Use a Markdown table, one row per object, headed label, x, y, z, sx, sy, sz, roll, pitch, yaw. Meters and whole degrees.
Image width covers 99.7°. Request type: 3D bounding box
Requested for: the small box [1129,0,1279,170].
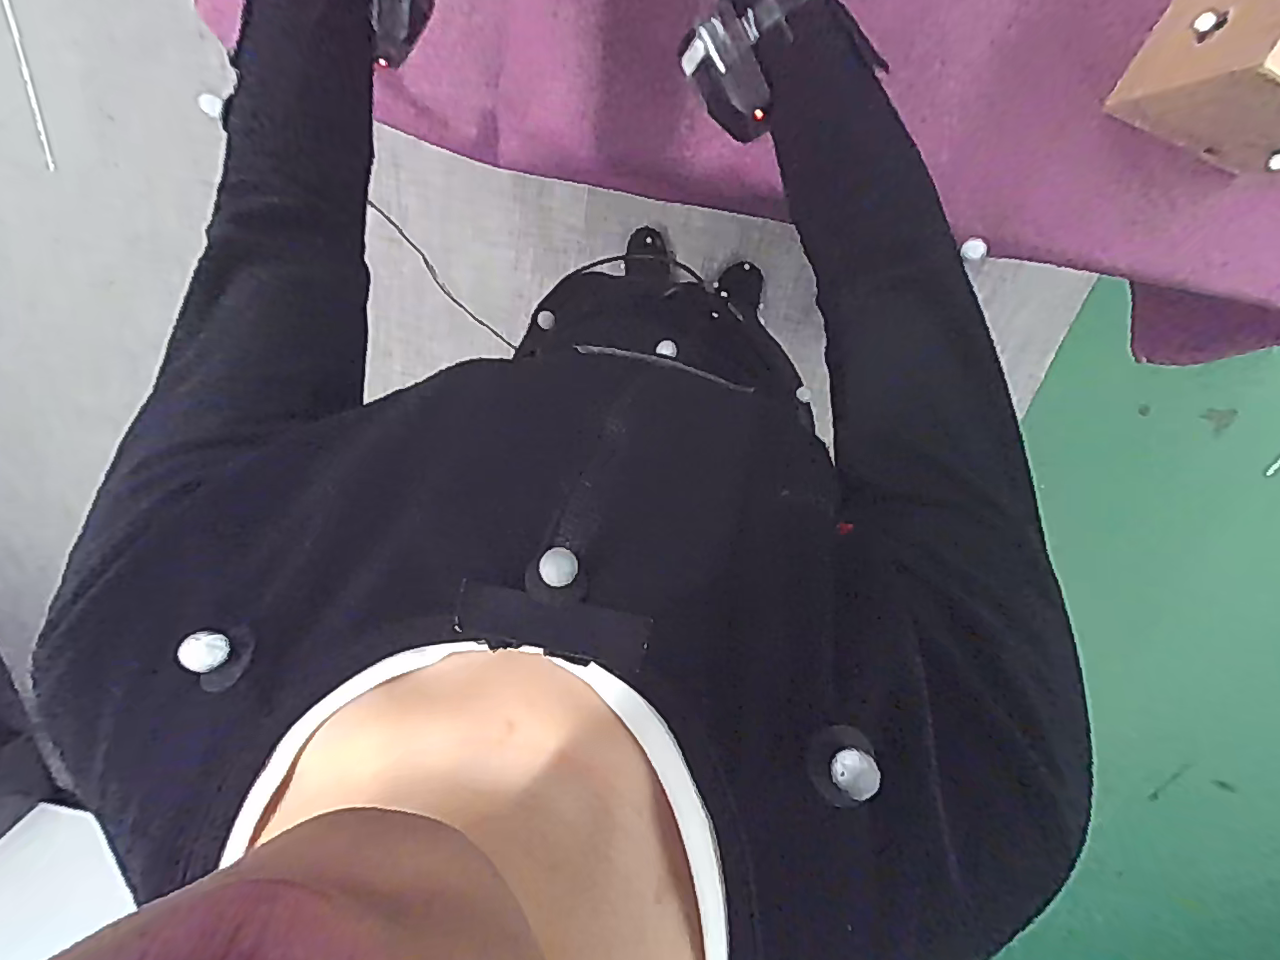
| label | x | y | z | sx | sy | sz | roll | pitch | yaw |
| --- | --- | --- | --- | --- | --- | --- | --- | --- | --- |
| small box | 0.545 | -0.364 | 0.417 | 0.168 | 0.176 | 0.179 | 22 | 116 | -5 |
